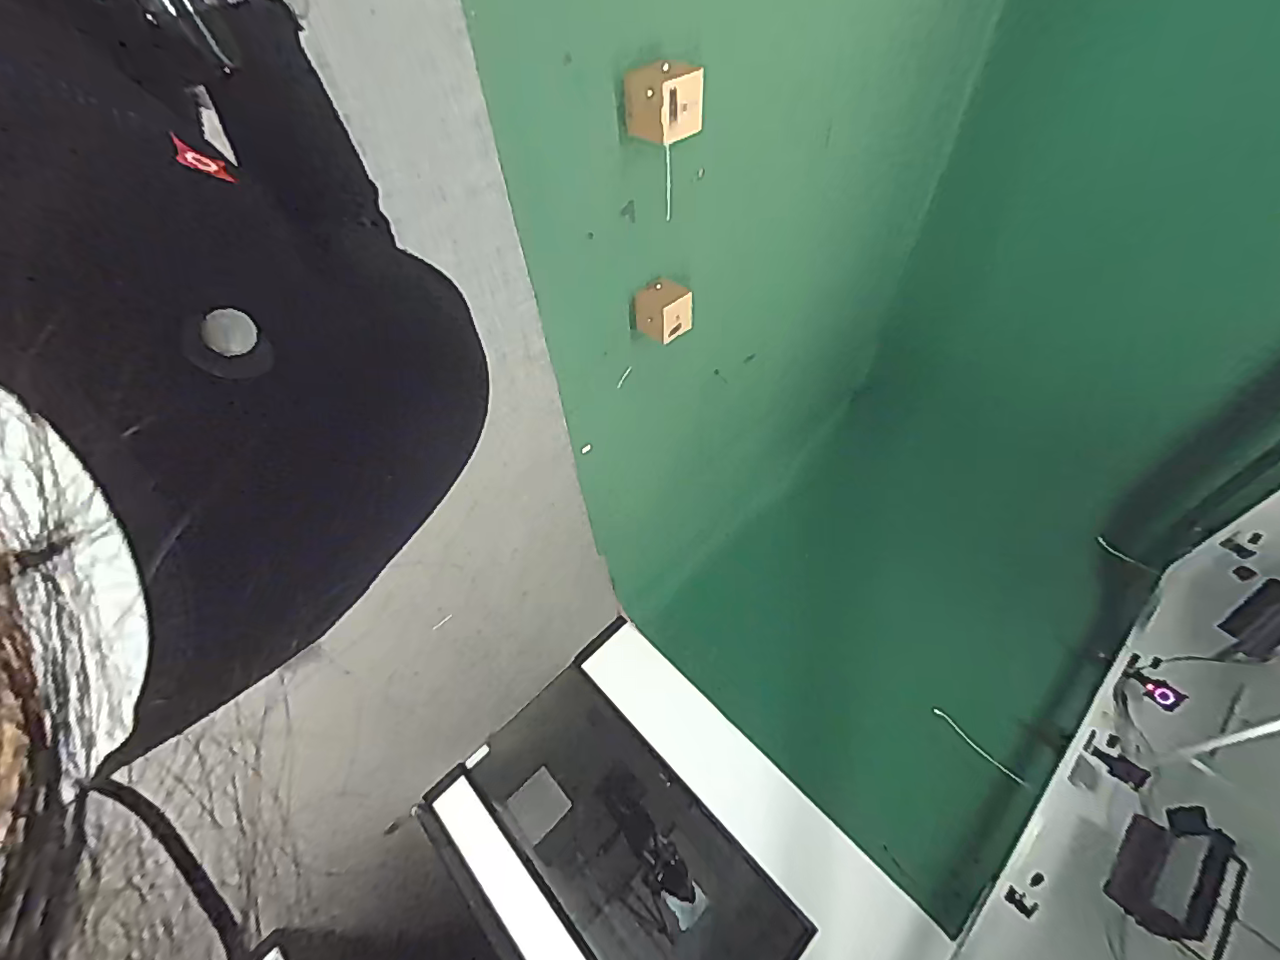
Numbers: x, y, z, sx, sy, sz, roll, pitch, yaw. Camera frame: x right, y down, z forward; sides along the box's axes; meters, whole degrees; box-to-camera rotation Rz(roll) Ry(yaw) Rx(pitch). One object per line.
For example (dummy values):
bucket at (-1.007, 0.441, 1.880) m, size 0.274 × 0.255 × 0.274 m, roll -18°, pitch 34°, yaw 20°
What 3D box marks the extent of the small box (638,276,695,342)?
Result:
small box at (0.106, -0.707, 2.230) m, size 0.168 × 0.176 × 0.179 m, roll -37°, pitch 148°, yaw -24°
